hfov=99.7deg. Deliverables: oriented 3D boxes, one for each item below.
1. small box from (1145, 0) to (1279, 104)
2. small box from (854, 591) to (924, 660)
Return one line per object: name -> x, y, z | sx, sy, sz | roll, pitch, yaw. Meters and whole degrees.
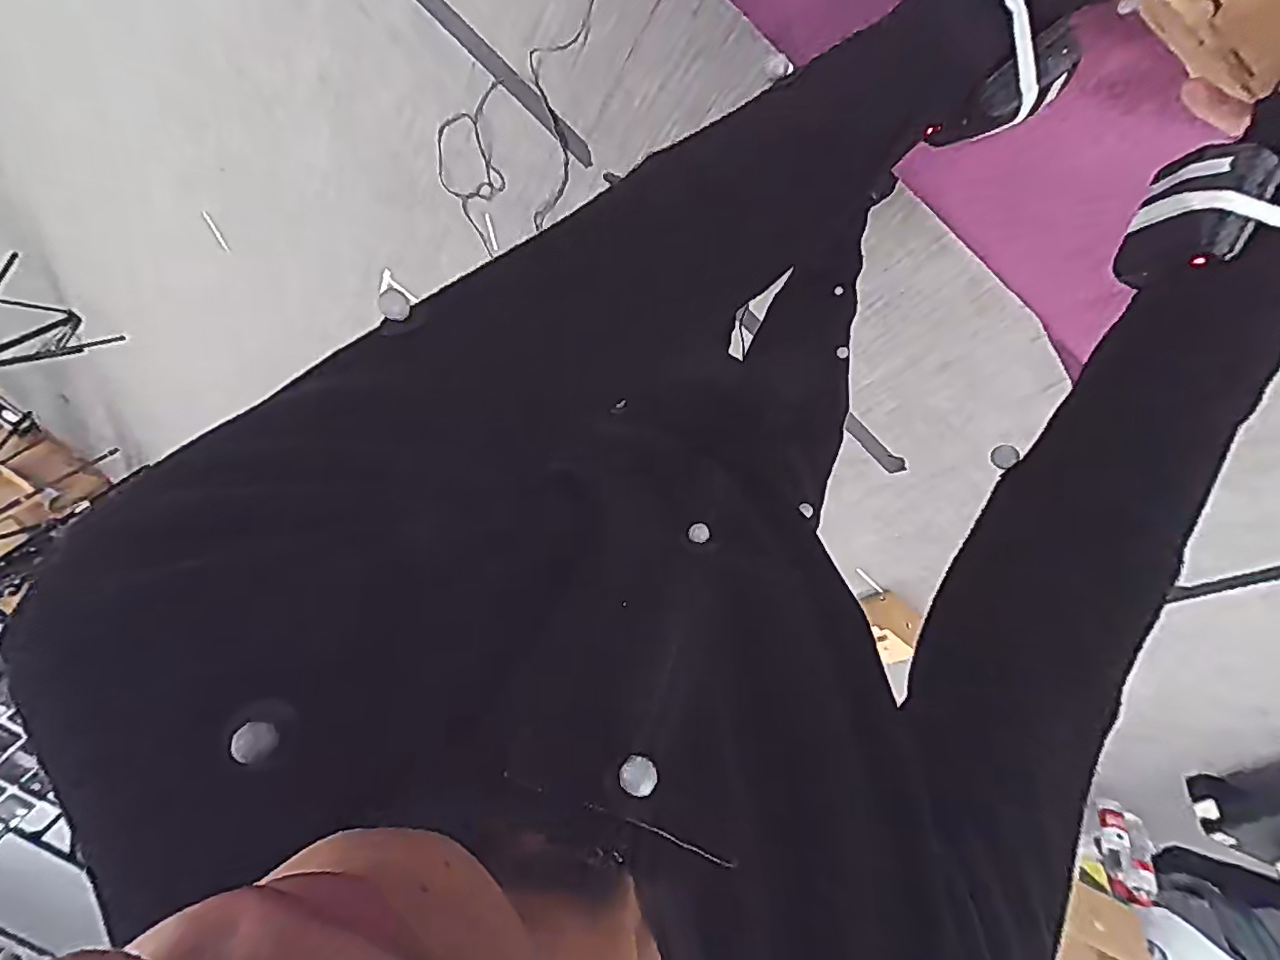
small box -> 0.398, -0.362, 0.299 | 0.168, 0.176, 0.179 | 39, 139, -9
small box -> 0.917, 0.527, 1.988 | 0.179, 0.176, 0.168 | 38, 139, -10
